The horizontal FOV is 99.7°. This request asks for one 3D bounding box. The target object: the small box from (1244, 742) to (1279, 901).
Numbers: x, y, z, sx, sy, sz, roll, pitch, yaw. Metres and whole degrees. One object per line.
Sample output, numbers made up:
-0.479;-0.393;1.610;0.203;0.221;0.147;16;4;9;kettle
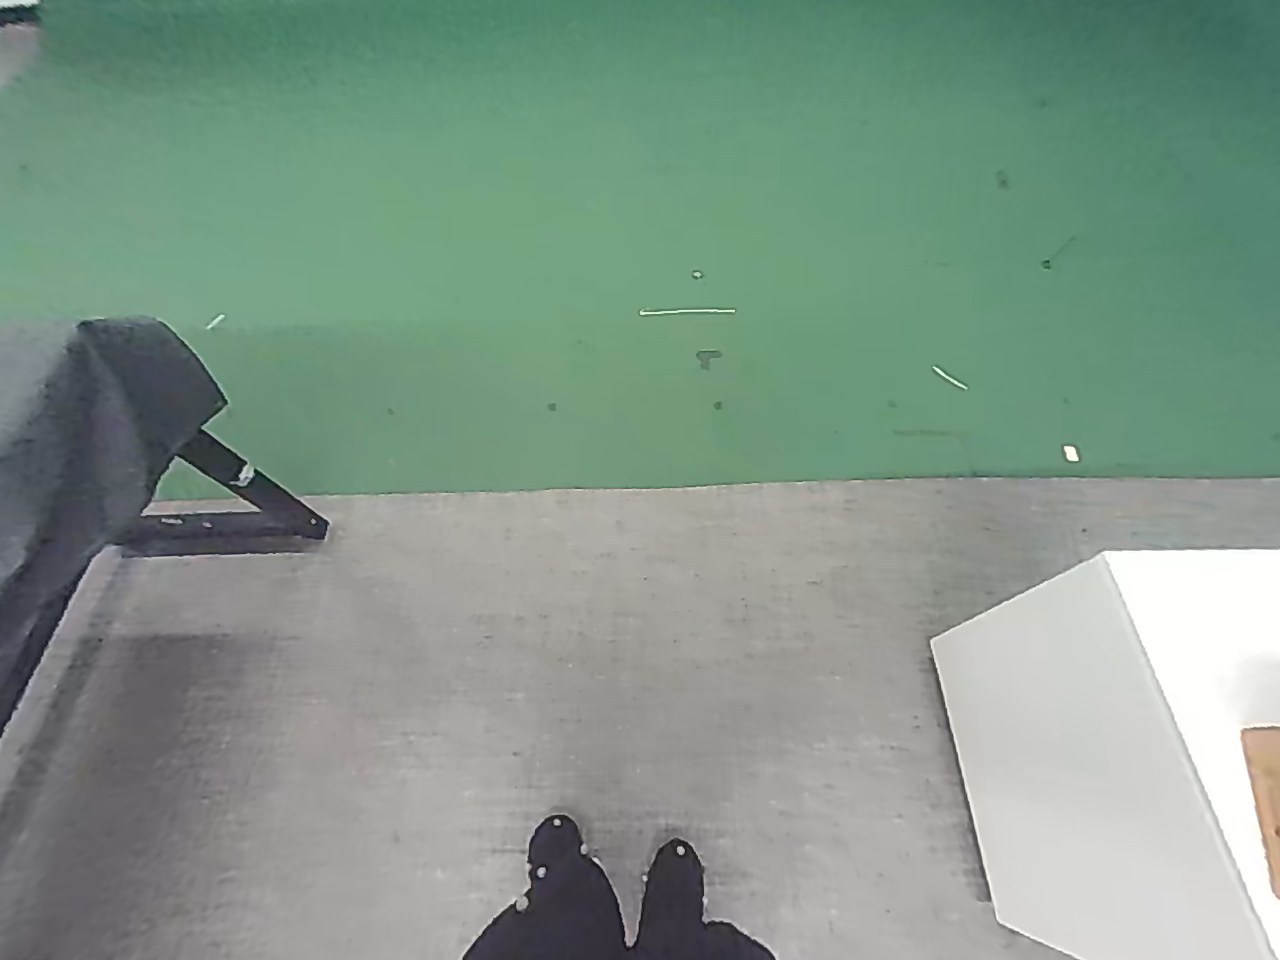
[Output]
0.747;0.346;0.501;0.179;0.176;0.168;13;63;10;small box
